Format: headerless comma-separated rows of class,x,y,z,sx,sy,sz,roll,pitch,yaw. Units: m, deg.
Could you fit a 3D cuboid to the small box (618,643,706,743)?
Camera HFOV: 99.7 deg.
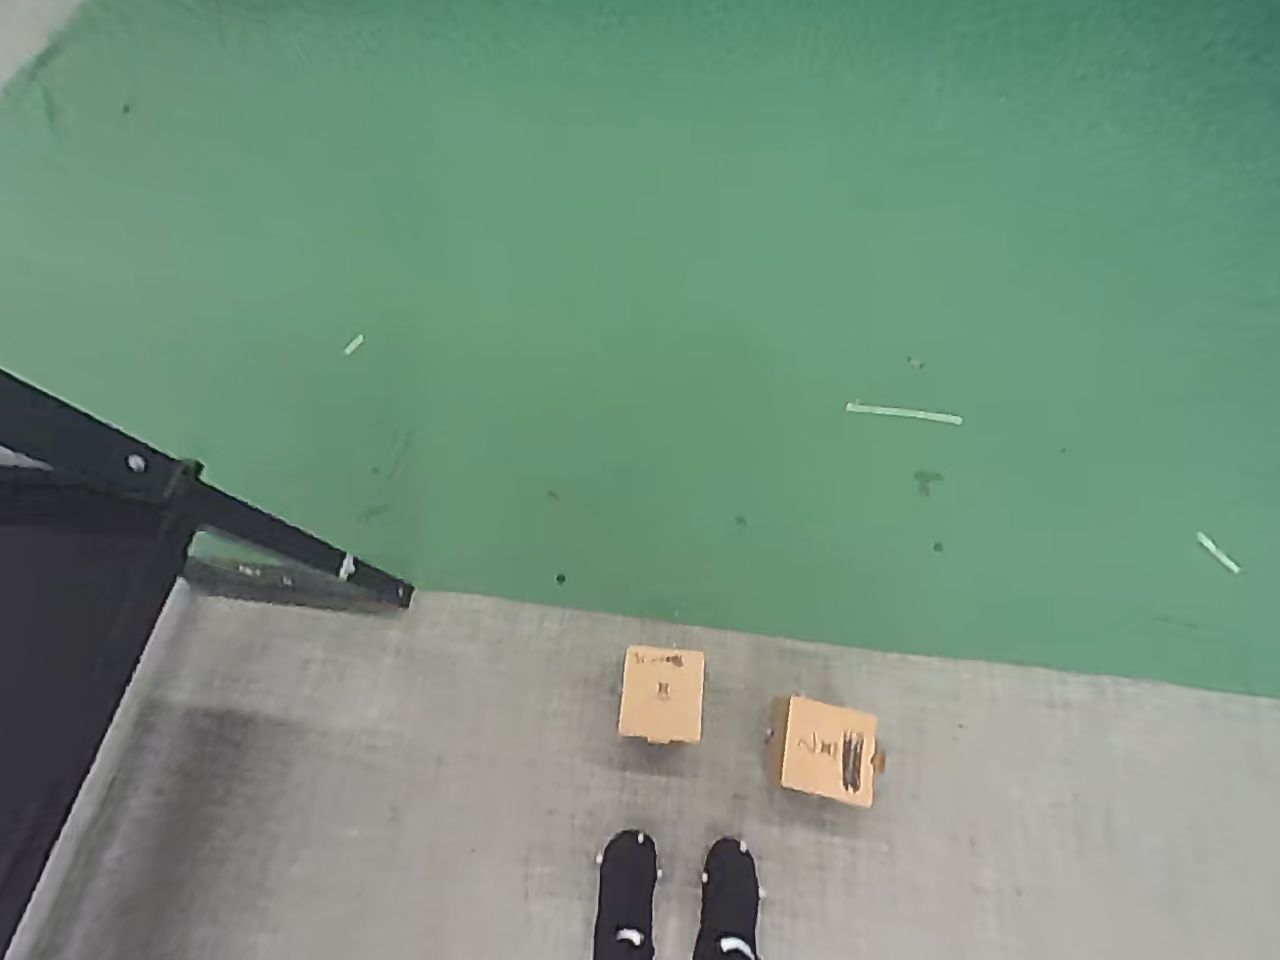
small box,0.049,0.455,1.160,0.168,0.176,0.179,5,68,3
